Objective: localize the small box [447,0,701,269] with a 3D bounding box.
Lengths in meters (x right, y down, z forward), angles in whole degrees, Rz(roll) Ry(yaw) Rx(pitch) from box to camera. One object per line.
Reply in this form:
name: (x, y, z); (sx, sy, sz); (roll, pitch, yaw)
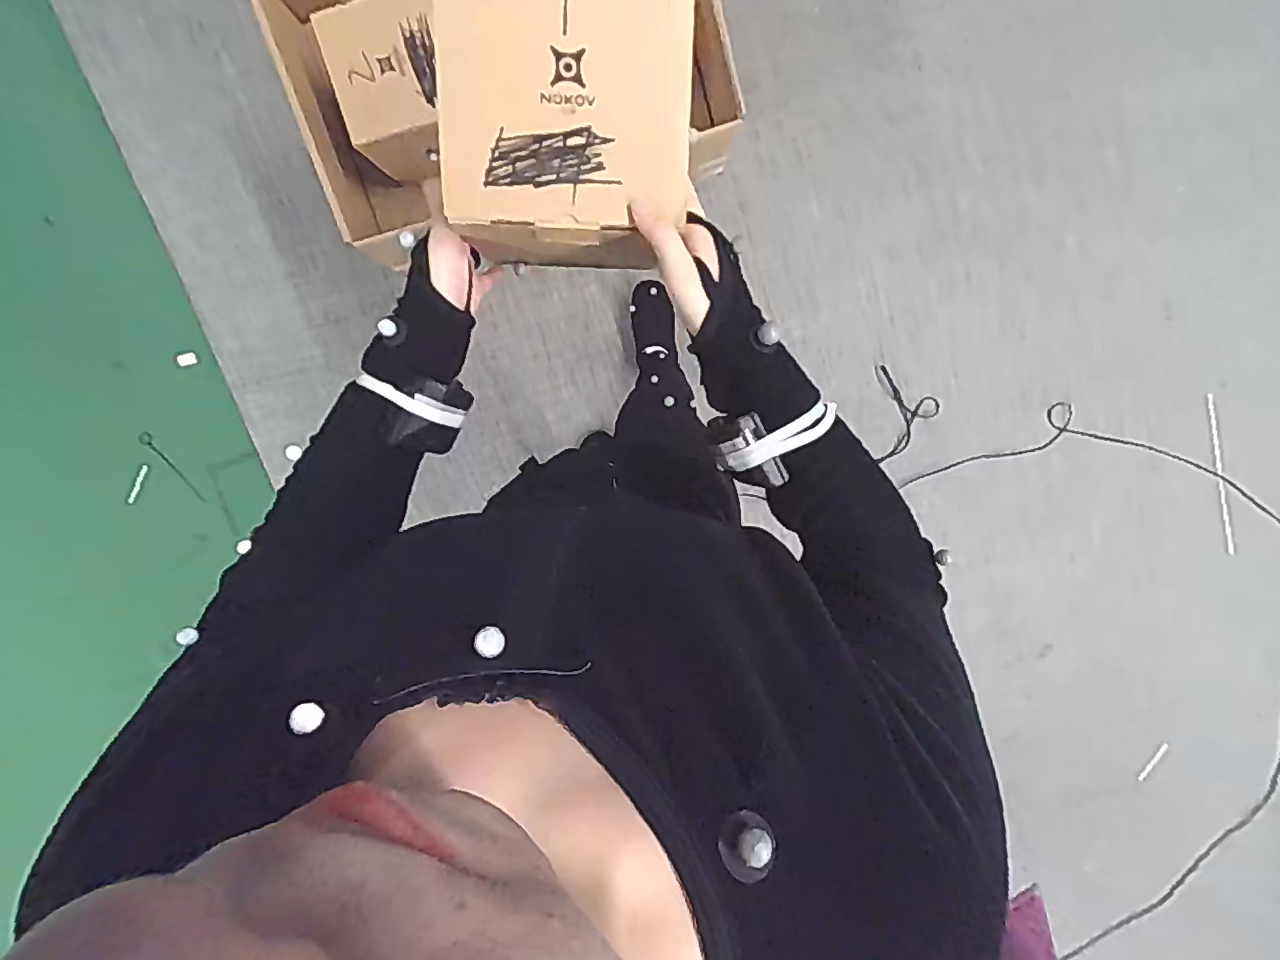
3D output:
small box: (-0.049, -0.276, 0.435); (0.168, 0.176, 0.179); (1, 101, -6)
